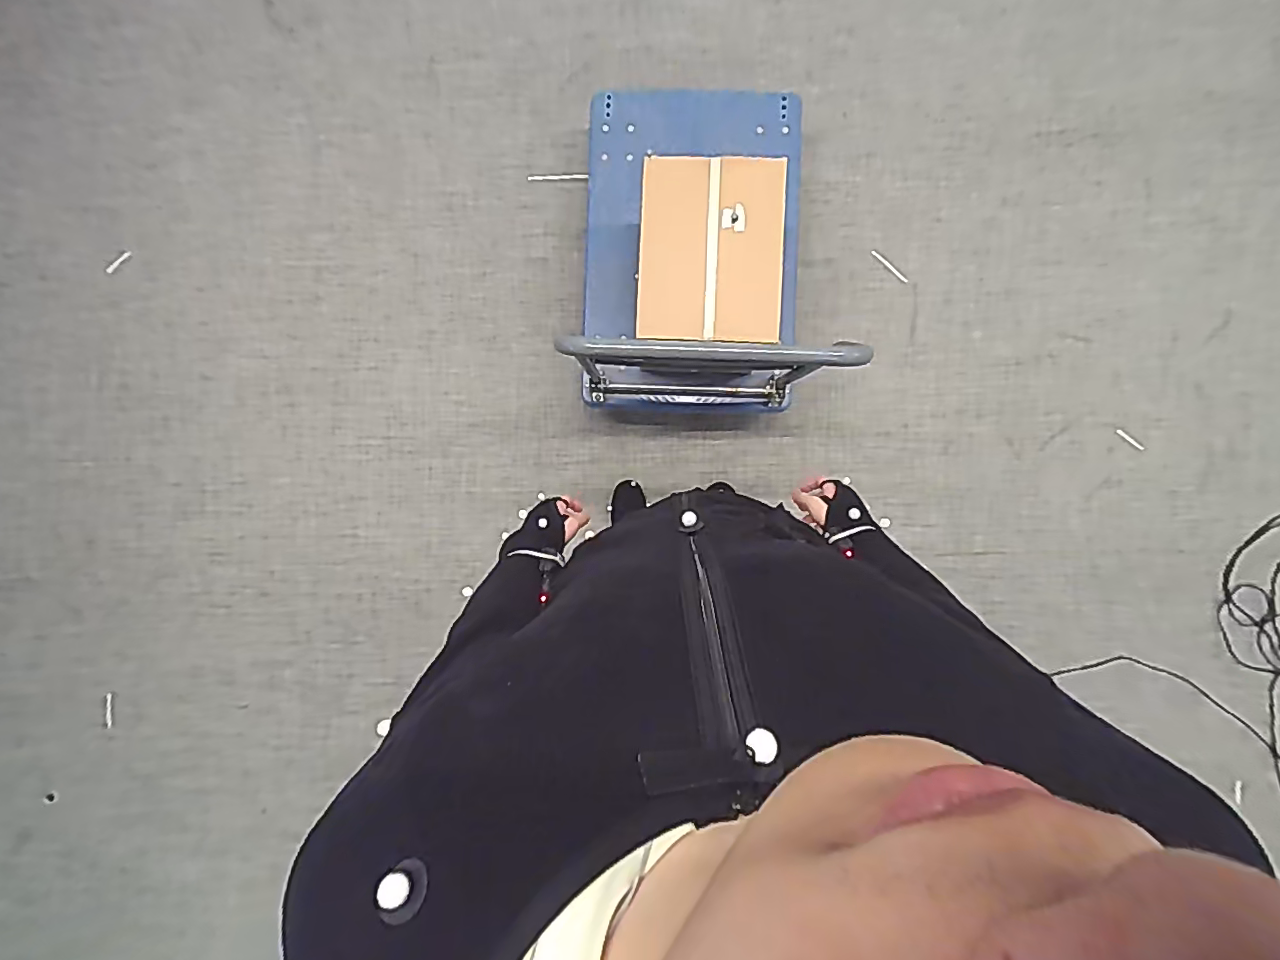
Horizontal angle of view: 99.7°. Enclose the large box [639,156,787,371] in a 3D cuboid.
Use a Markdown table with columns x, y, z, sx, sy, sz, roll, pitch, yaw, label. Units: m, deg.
| x | y | z | sx | sy | sz | roll | pitch | yaw | label |
| --- | --- | --- | --- | --- | --- | --- | --- | --- | --- |
| 0.163 | -0.493 | 1.309 | 0.320 | 0.320 | 0.408 | 2 | 89 | 1 | large box |
